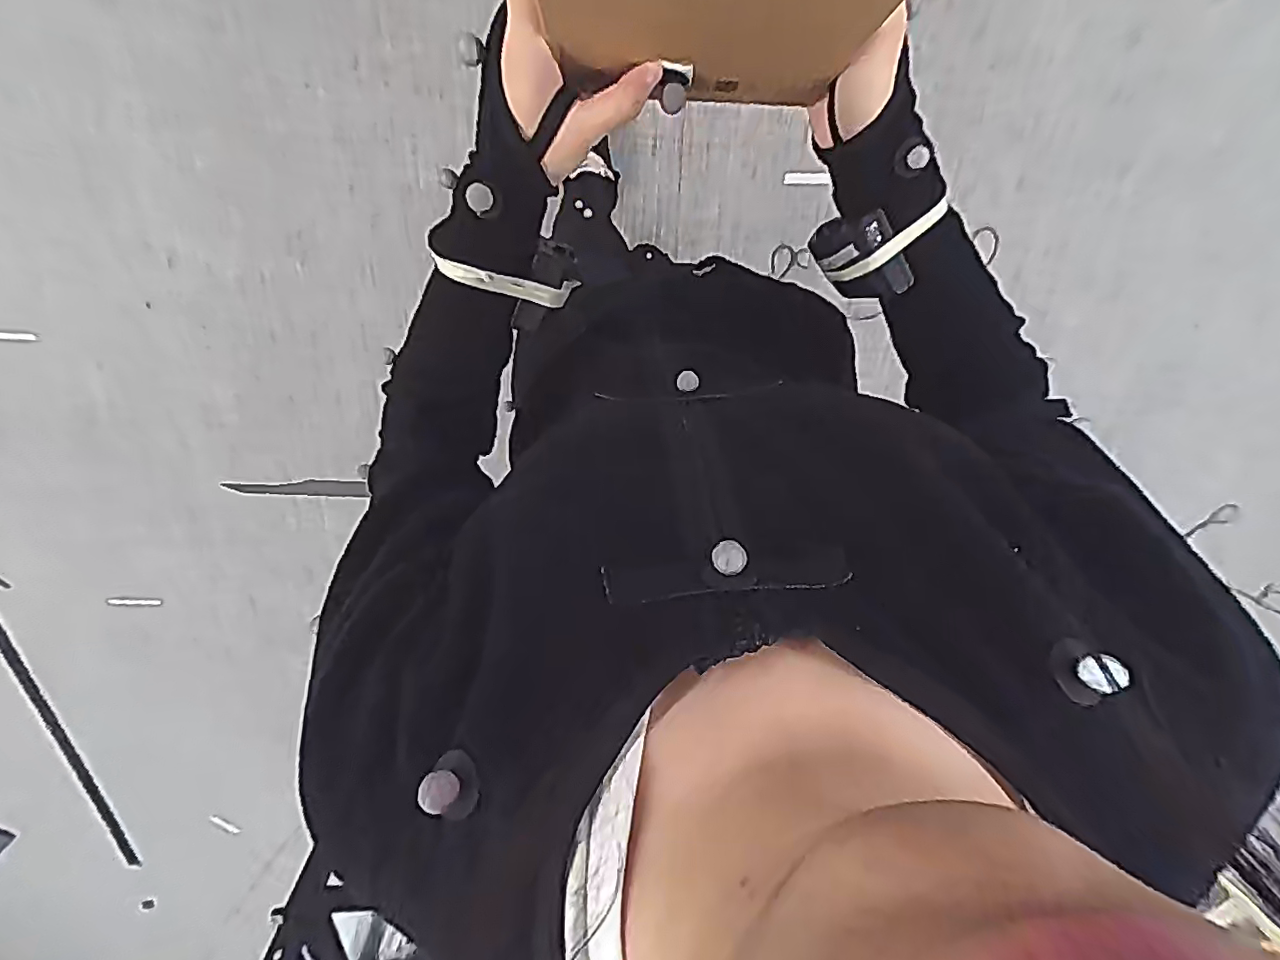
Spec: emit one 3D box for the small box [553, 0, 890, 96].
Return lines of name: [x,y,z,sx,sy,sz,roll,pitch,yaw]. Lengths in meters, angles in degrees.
small box: [0.037,-0.311,0.244,0.168,0.176,0.179,0,107,-2]
